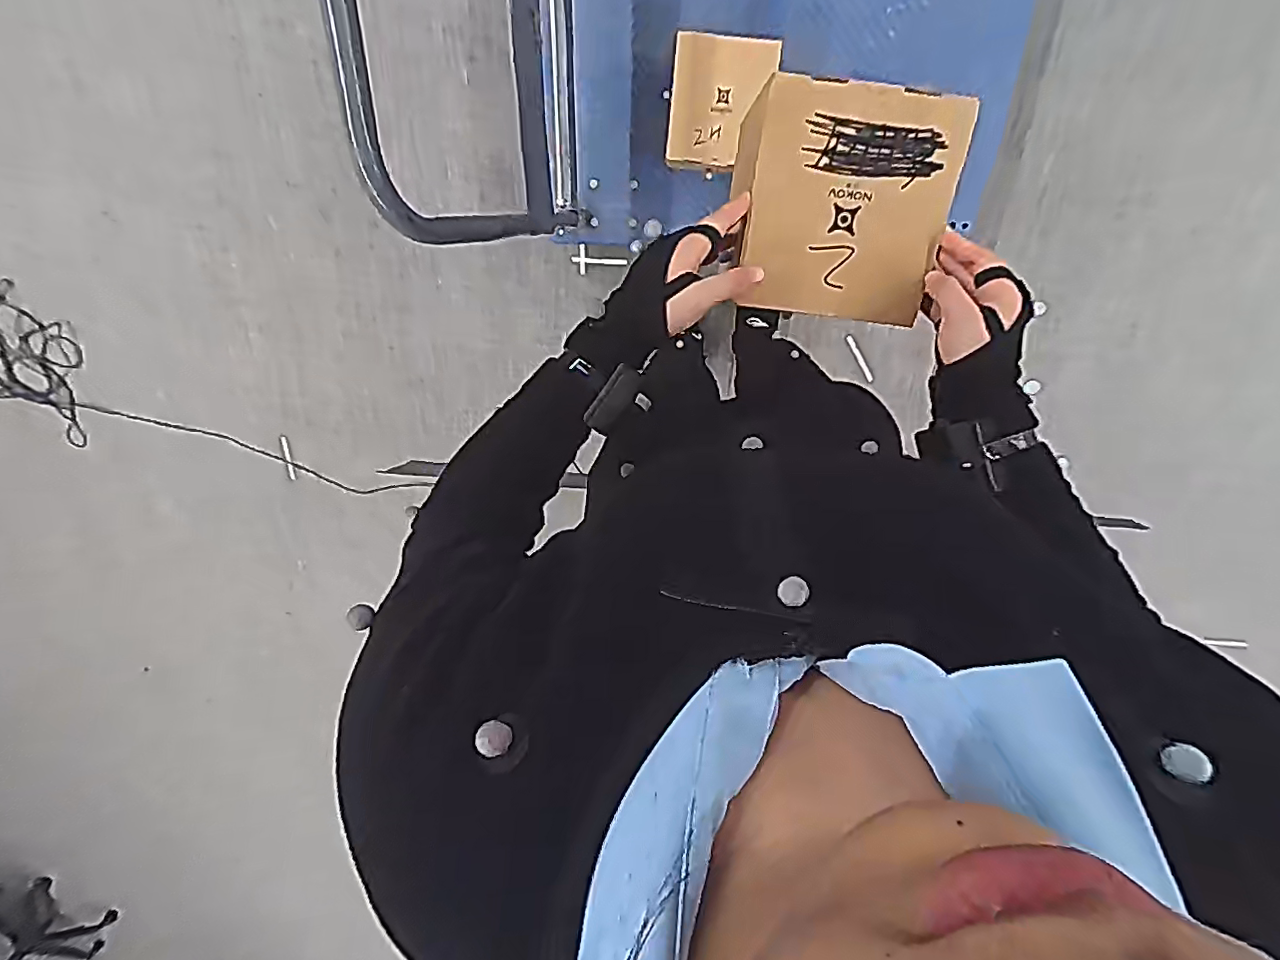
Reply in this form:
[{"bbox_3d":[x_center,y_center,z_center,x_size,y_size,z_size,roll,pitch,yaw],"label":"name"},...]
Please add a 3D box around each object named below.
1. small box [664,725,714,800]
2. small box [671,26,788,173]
[{"bbox_3d":[0.175,1.021,1.956,0.168,0.176,0.179,2,115,2],"label":"small box"},{"bbox_3d":[0.145,-0.648,0.942,0.168,0.176,0.179,6,116,1],"label":"small box"}]
